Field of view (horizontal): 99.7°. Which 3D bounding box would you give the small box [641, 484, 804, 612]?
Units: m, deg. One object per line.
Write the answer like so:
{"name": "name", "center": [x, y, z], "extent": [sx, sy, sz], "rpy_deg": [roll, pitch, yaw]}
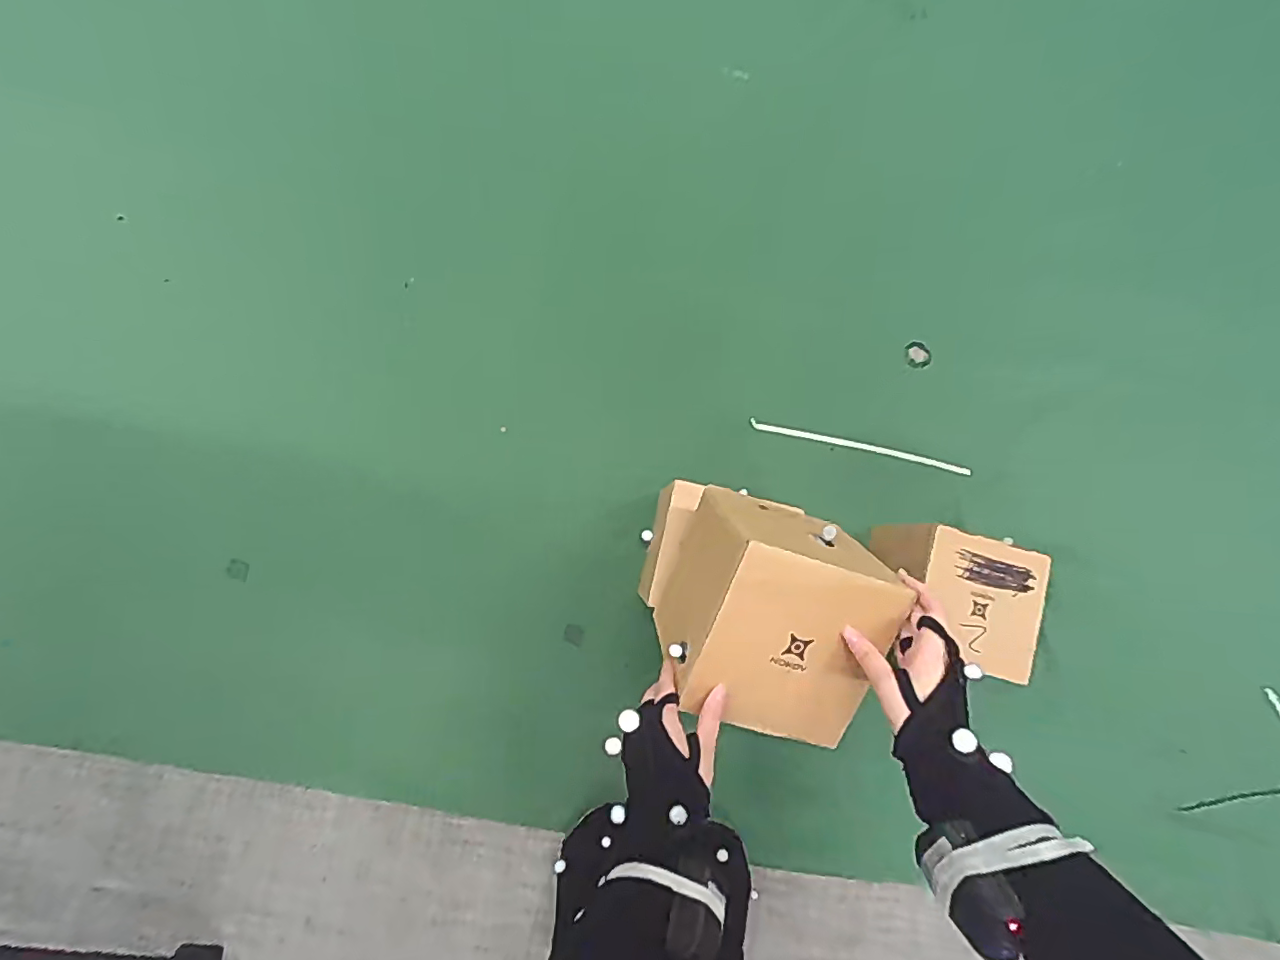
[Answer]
{"name": "small box", "center": [0.106, 0.109, 0.764], "extent": [0.179, 0.176, 0.168], "rpy_deg": [13, 83, -2]}

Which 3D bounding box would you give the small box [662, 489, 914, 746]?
{"name": "small box", "center": [0.129, 0.128, 0.553], "extent": [0.168, 0.176, 0.179], "rpy_deg": [18, 105, -10]}
